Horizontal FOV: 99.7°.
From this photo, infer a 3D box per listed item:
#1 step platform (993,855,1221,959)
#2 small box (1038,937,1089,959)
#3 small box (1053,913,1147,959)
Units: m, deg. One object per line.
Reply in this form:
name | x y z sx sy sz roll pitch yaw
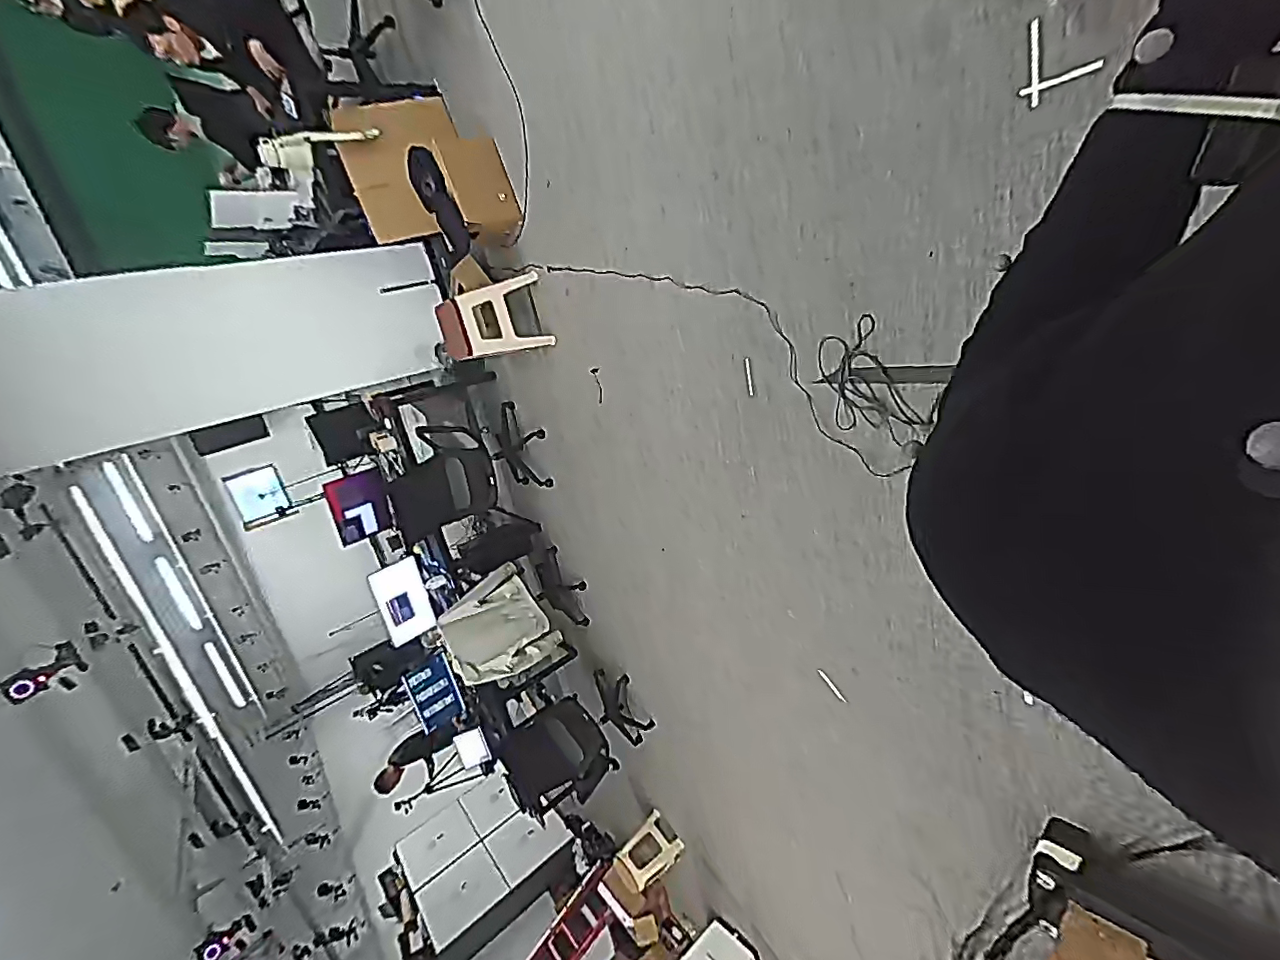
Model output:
step platform | 1.284 1.271 1.321 0.684 0.204 0.286 10 121 52
small box | 1.110 1.341 1.374 0.168 0.176 0.179 8 117 52
small box | 1.239 1.278 1.454 0.168 0.176 0.179 8 118 51
